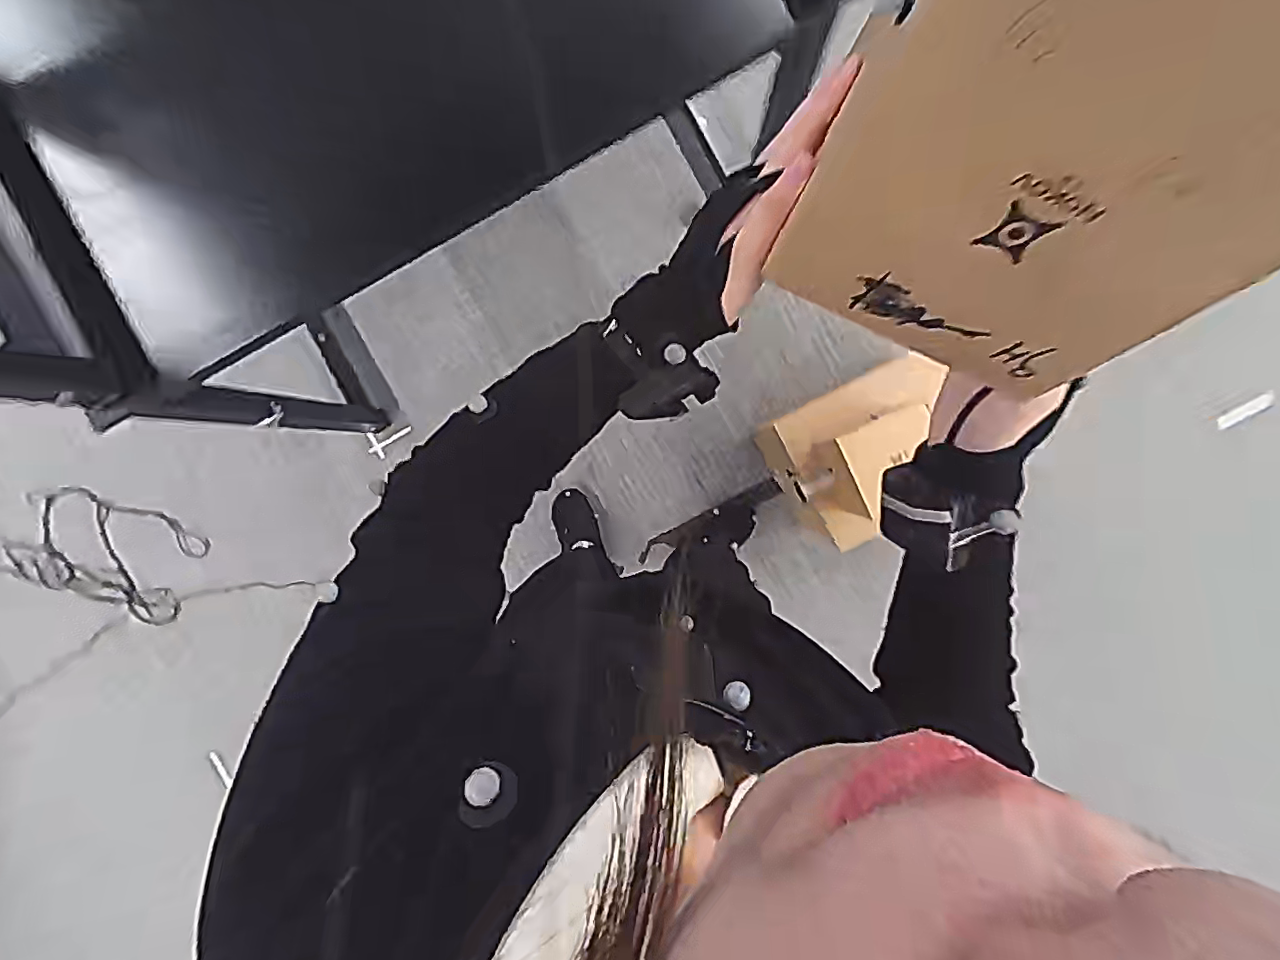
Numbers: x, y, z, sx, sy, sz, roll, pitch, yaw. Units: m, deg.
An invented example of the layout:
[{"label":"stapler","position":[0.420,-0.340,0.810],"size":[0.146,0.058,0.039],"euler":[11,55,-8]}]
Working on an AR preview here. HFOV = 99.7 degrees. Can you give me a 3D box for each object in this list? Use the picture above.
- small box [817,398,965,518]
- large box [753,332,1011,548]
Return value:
[{"label":"small box","position":[0.469,-0.043,1.037],"size":[0.179,0.176,0.168],"euler":[-24,90,4]},{"label":"large box","position":[0.533,-0.086,1.278],"size":[0.408,0.320,0.320],"euler":[-28,92,3]}]
